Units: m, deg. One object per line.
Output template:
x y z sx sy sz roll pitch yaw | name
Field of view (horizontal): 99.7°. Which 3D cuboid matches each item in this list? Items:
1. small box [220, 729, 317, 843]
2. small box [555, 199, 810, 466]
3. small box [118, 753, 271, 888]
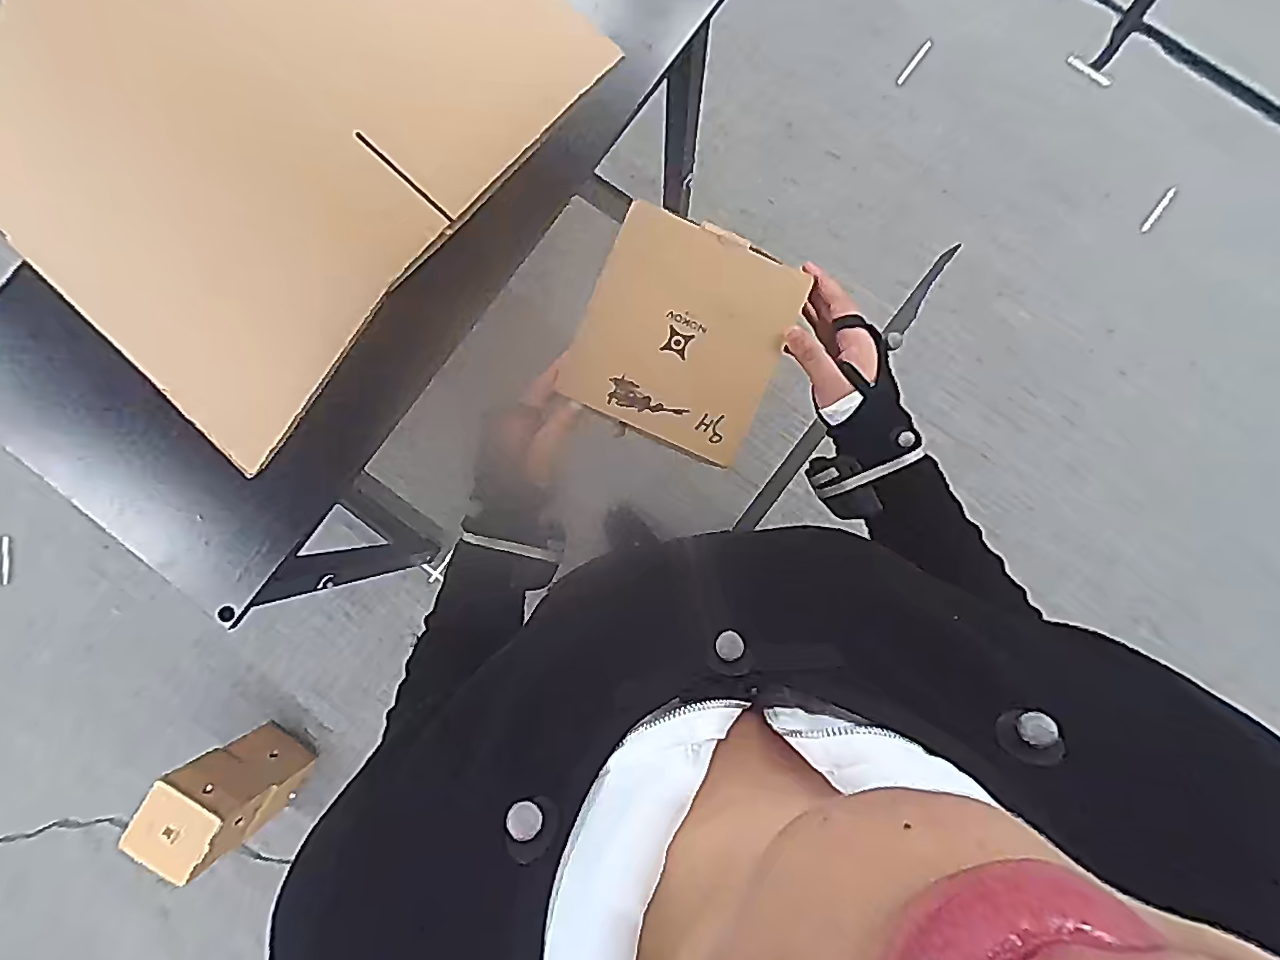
-0.997 0.778 1.402 0.179 0.176 0.168 33 88 2 | small box
0.035 -0.126 0.531 0.168 0.176 0.179 24 92 1 | small box
-1.007 0.766 1.241 0.179 0.176 0.168 30 87 4 | small box
